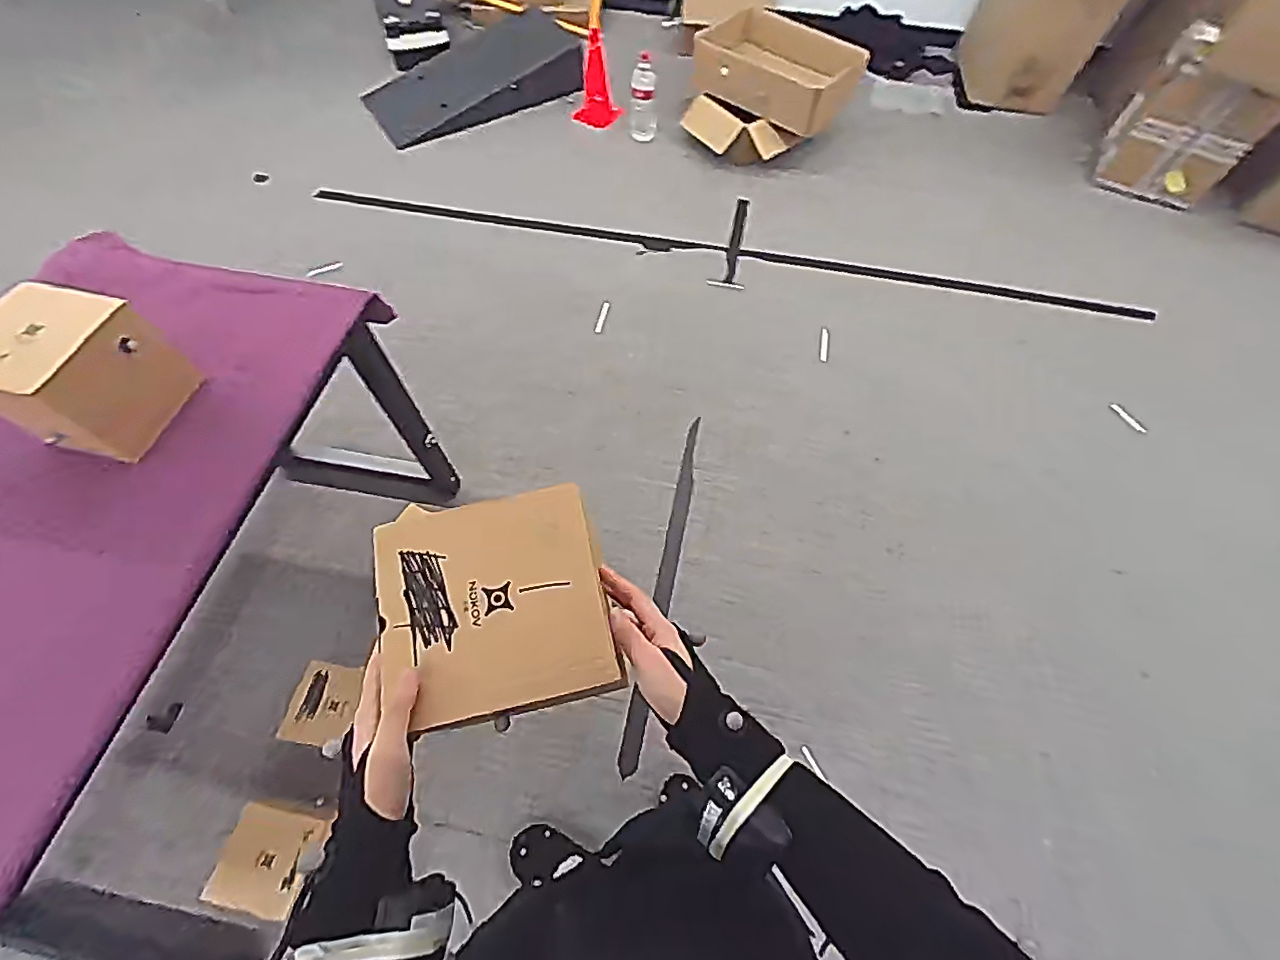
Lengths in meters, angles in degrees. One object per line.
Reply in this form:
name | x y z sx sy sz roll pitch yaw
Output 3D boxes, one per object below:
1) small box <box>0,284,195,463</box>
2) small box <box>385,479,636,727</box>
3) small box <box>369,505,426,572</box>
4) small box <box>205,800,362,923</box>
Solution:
small box | -0.813 -0.151 0.792 0.168 0.176 0.179 12 62 6
small box | -0.107 0.120 0.494 0.179 0.176 0.168 -13 68 -3
small box | -0.568 0.203 1.435 0.168 0.176 0.179 26 65 12
small box | -0.723 0.777 1.120 0.179 0.176 0.168 11 62 7
